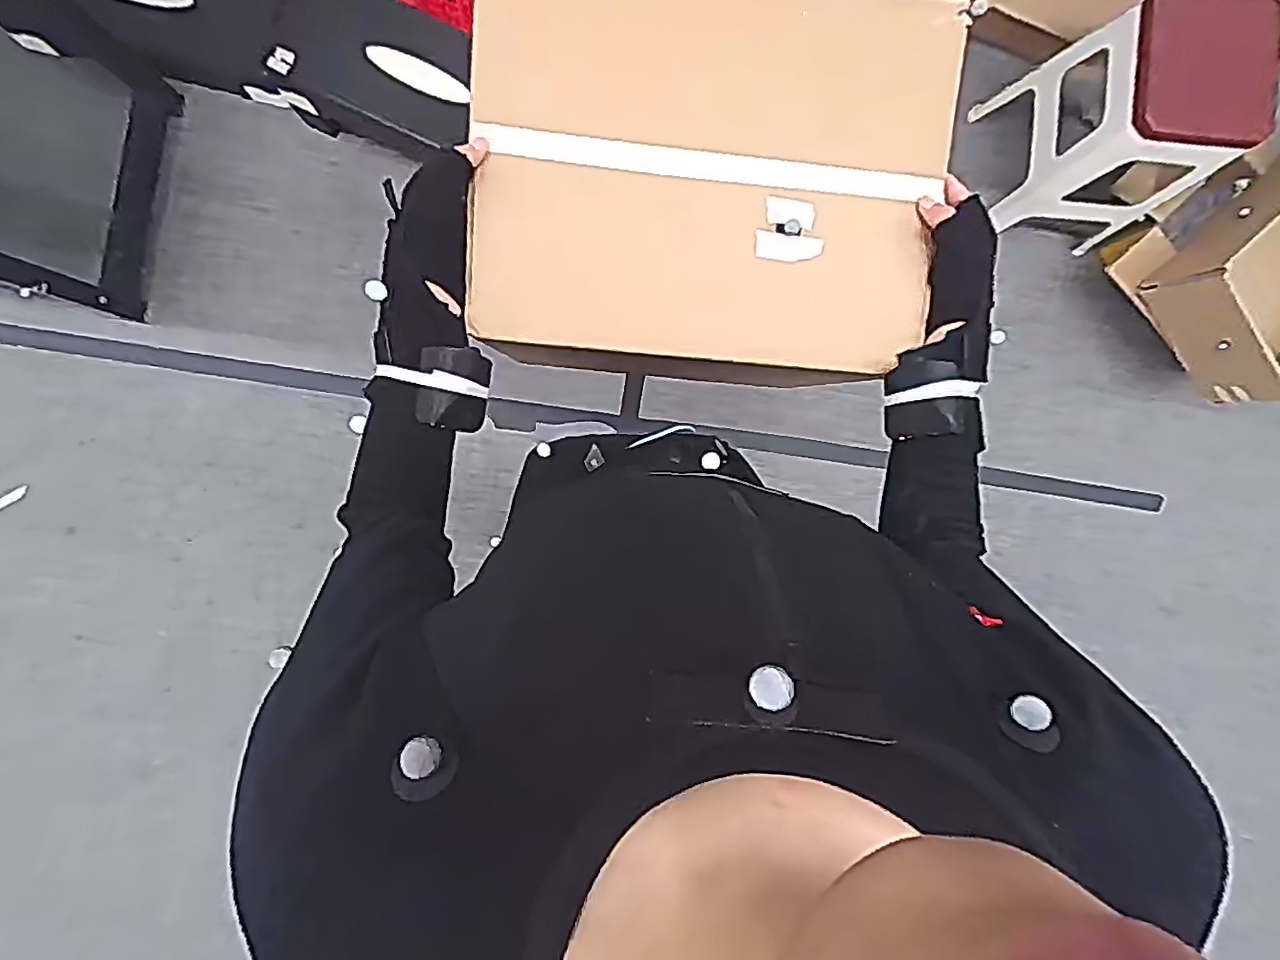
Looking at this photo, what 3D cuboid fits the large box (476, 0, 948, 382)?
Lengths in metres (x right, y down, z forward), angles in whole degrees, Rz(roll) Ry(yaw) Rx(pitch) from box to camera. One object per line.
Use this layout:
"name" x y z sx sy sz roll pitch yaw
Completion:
"large box" 0.047 -0.286 0.617 0.408 0.320 0.320 4 99 -6
